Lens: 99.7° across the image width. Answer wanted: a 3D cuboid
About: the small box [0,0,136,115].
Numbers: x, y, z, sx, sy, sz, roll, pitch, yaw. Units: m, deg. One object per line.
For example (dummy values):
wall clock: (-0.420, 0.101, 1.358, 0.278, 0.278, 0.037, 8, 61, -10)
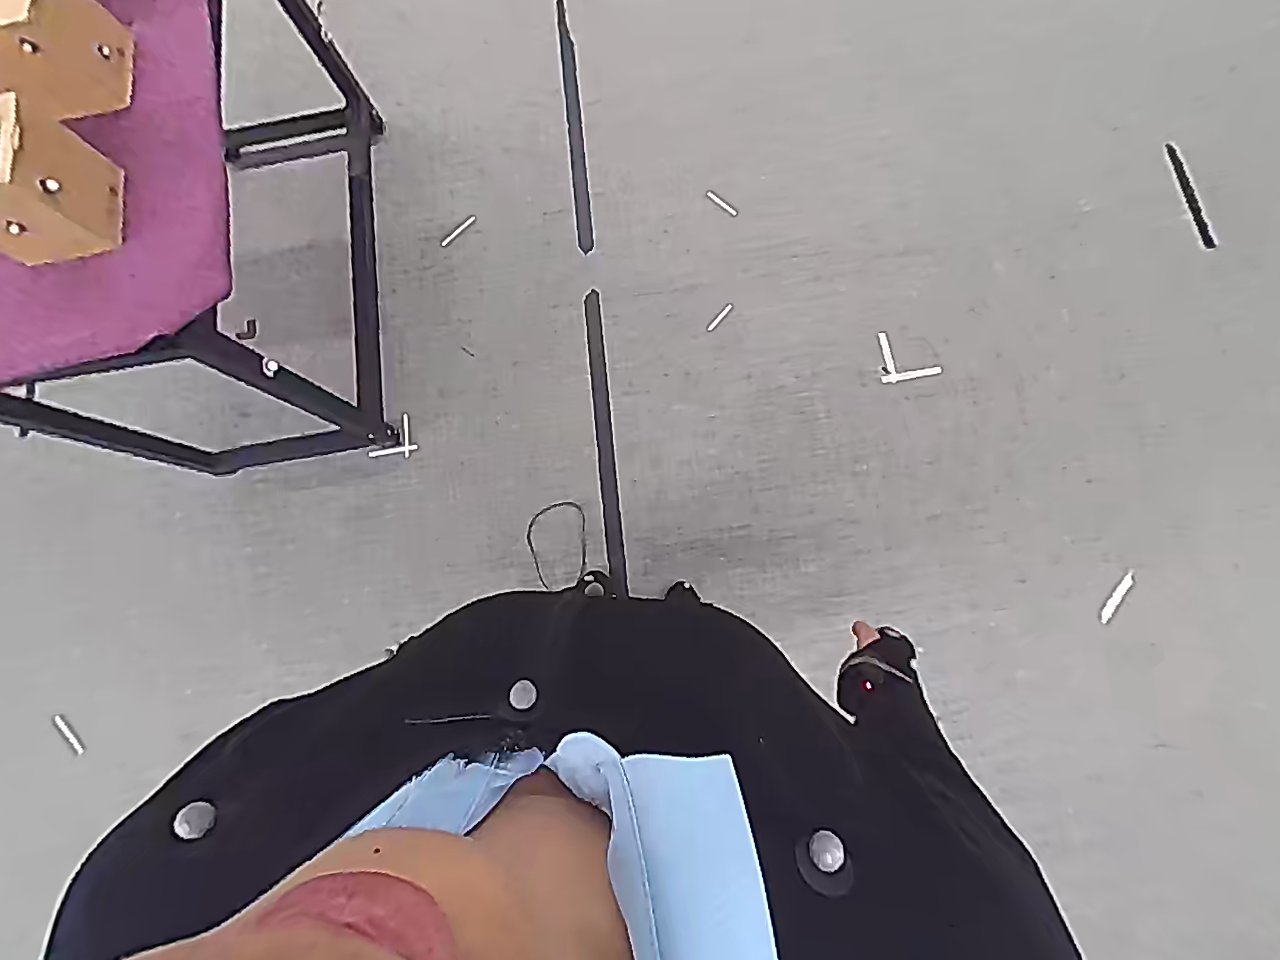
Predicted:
small box: (-1.069, -0.793, 0.967, 0.179, 0.176, 0.168, -9, 78, 2)
